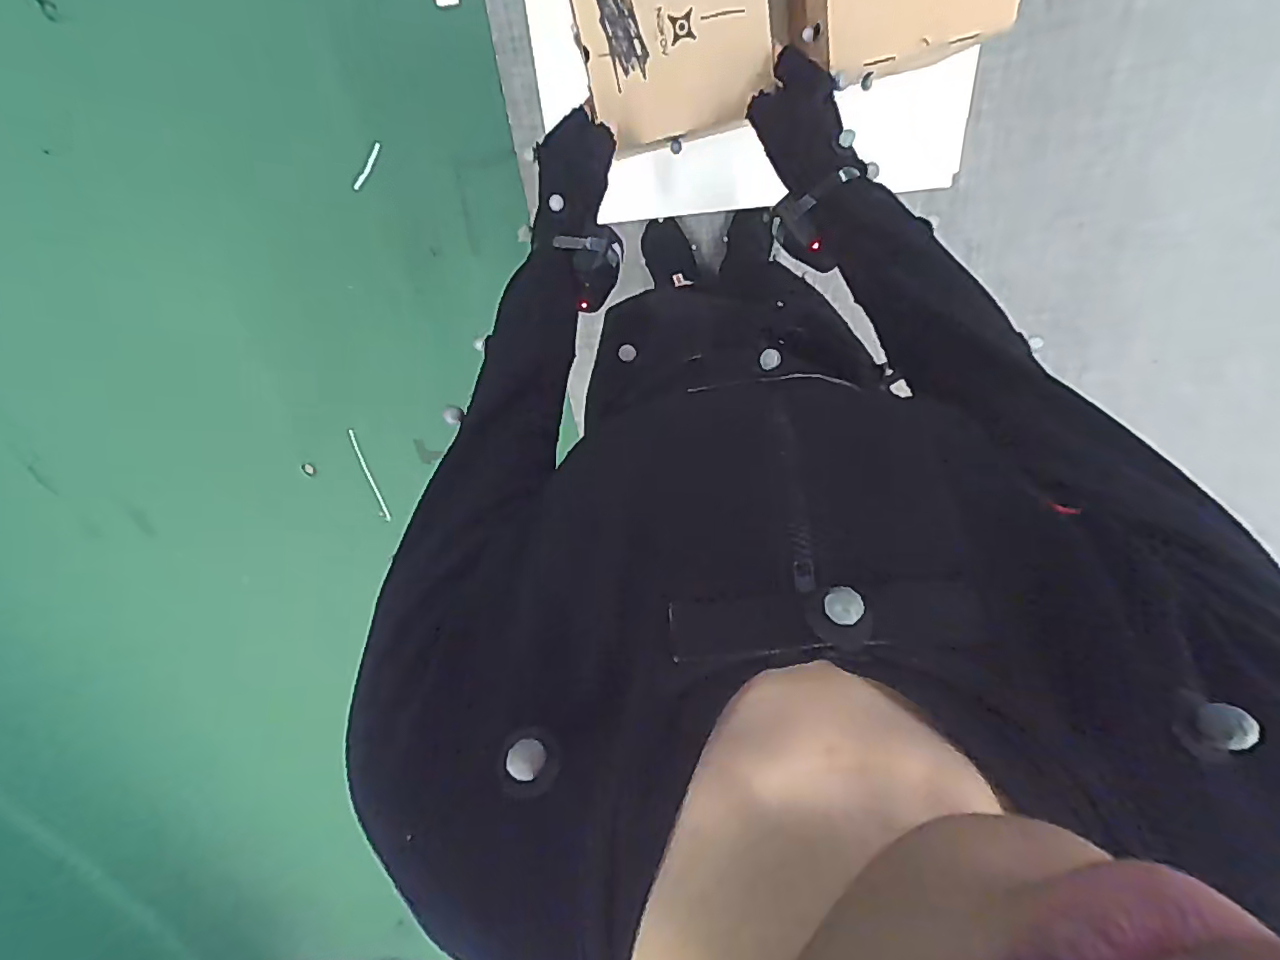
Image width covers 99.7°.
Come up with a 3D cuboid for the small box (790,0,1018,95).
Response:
[{"bbox_3d":[0.242,-0.506,0.524,0.168,0.176,0.179,-9,118,8],"label":"small box"}]

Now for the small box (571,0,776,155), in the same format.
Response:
[{"bbox_3d":[0.034,-0.451,0.562,0.179,0.176,0.168,-10,118,7],"label":"small box"}]
